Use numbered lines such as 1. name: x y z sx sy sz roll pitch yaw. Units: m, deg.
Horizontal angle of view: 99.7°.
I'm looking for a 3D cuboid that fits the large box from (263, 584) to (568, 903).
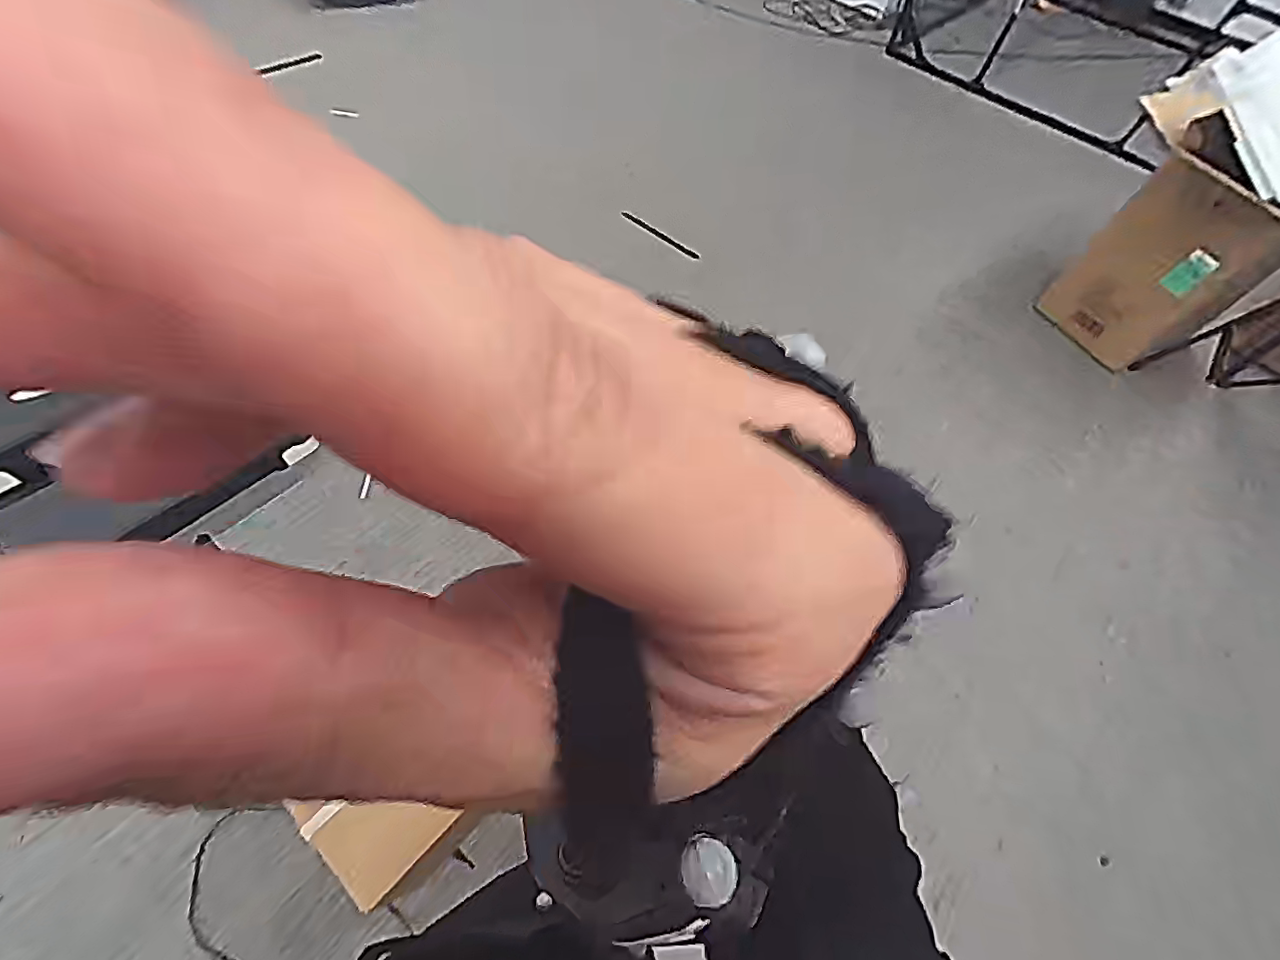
1. large box: -0.384 0.488 1.037 0.320 0.320 0.408 40 61 17
